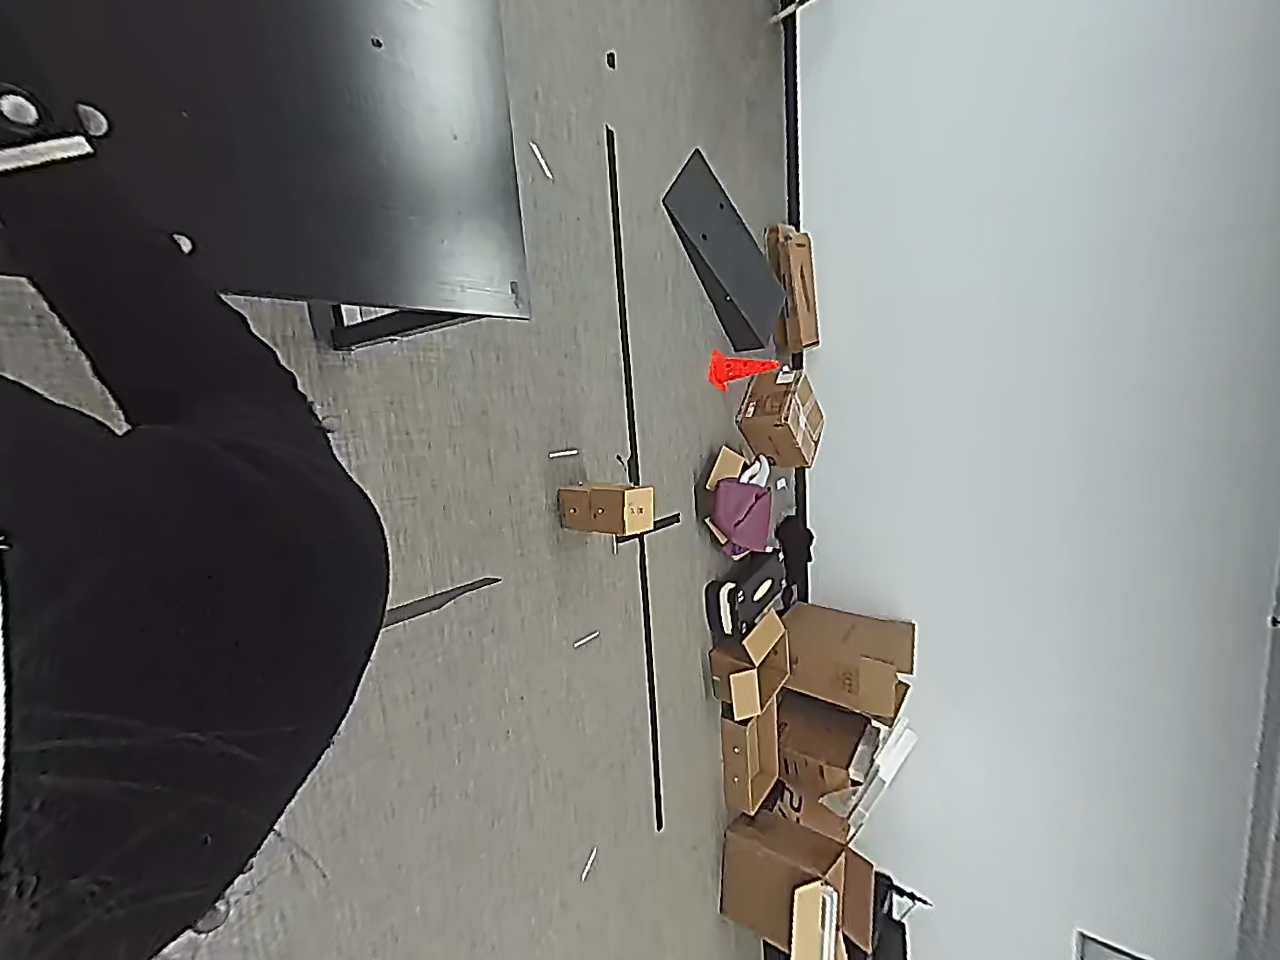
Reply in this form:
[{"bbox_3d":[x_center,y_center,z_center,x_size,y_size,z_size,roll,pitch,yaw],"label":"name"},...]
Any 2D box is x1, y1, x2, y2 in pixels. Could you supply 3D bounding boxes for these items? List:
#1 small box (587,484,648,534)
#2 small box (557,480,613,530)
[{"bbox_3d":[-0.084,0.104,2.055,0.179,0.176,0.168,-7,97,-52],"label":"small box"},{"bbox_3d":[-0.218,0.096,2.153,0.179,0.176,0.168,-15,104,-51],"label":"small box"}]
